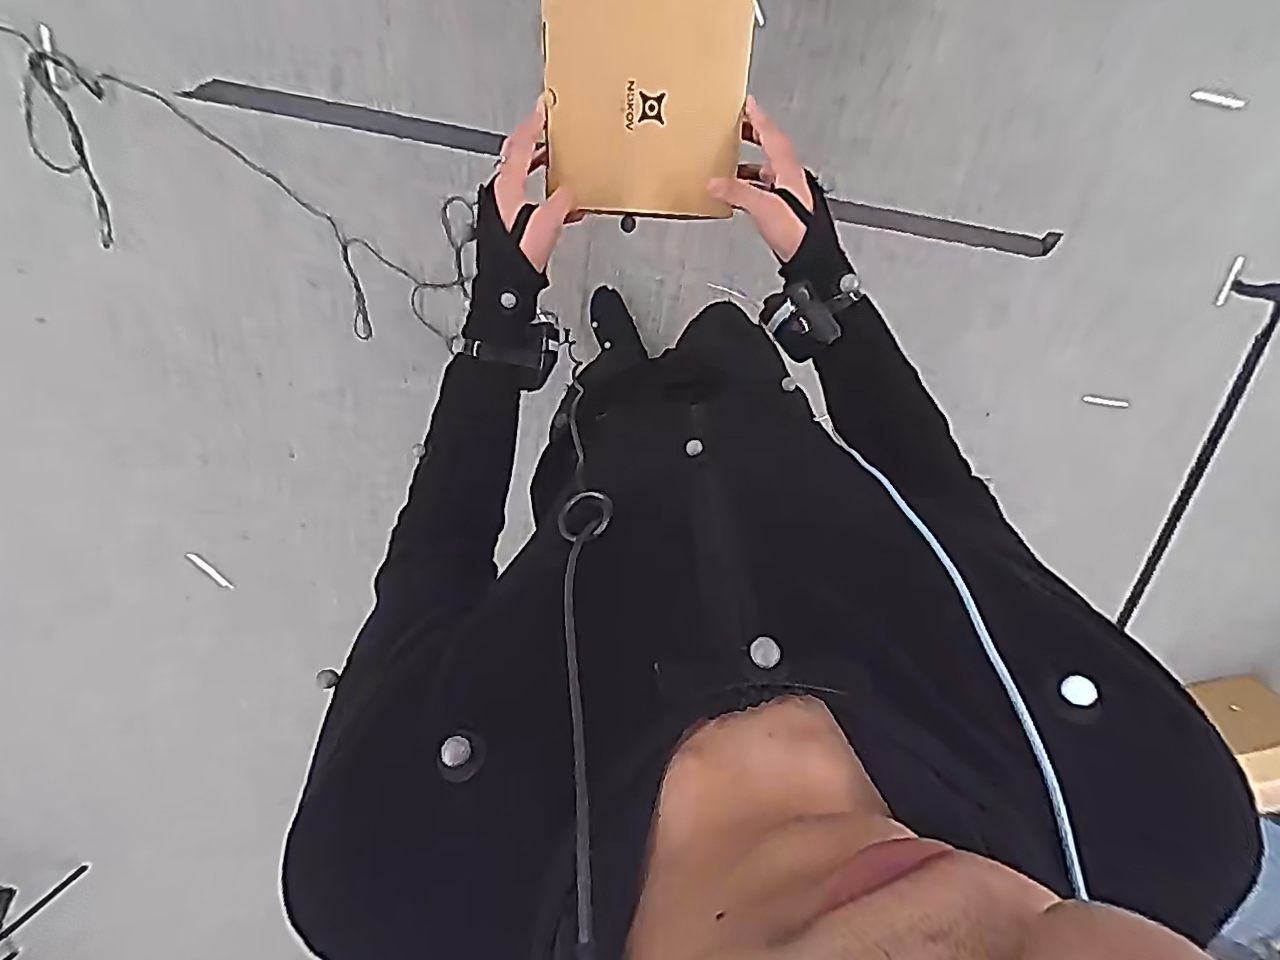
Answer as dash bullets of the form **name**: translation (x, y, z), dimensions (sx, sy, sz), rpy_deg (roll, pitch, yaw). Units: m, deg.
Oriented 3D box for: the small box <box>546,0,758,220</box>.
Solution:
- **small box**: translation (-0.002, -0.358, 0.539), dimensions (0.179, 0.176, 0.168), rpy_deg (0, 116, -7)
